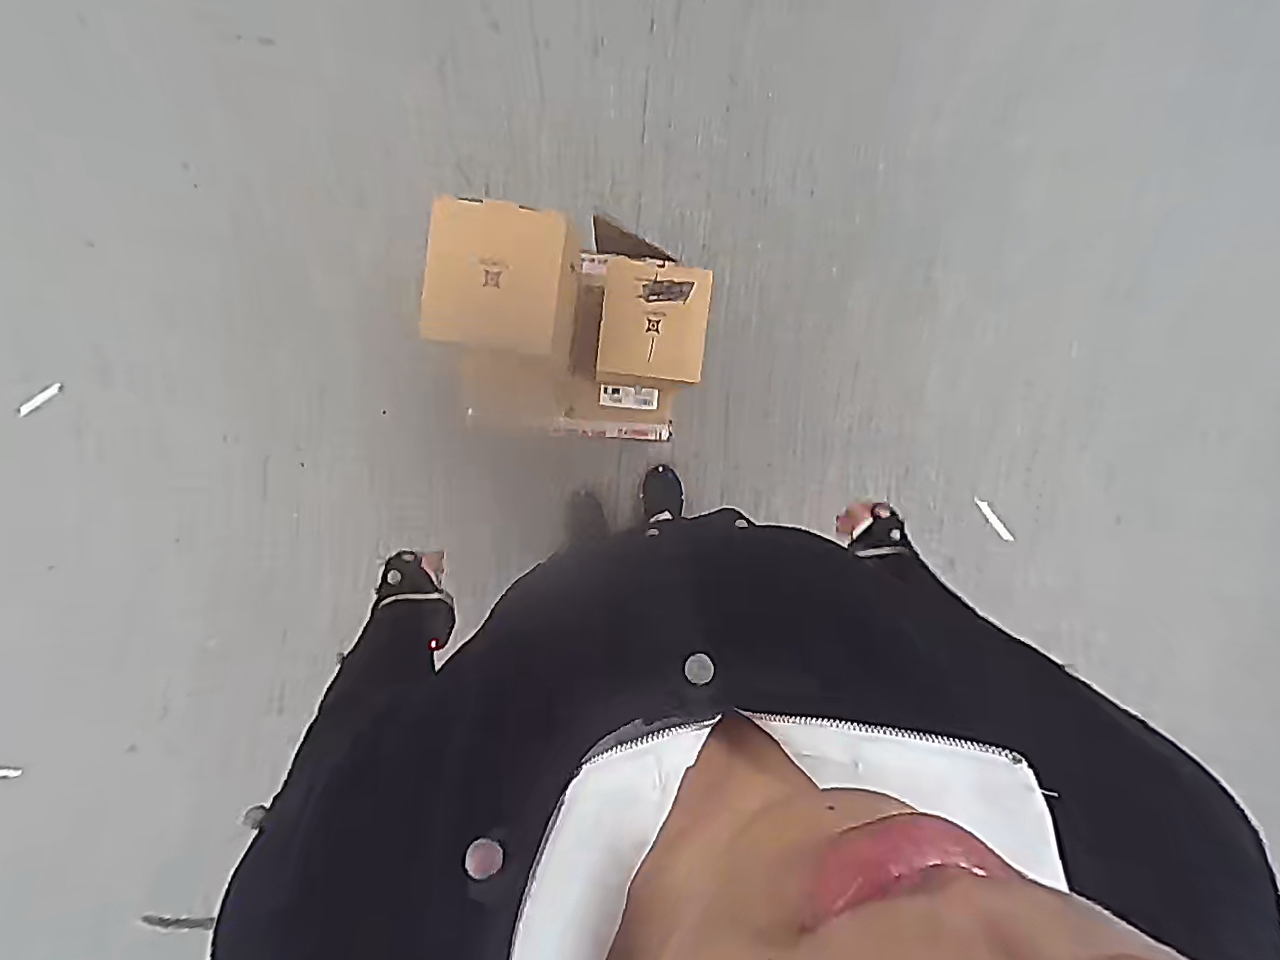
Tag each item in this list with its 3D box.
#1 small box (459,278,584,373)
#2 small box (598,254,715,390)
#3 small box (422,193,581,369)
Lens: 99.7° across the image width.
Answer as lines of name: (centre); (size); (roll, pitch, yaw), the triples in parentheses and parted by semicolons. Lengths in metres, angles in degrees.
small box: (-0.188, -0.278, 0.898); (0.168, 0.176, 0.179); (7, 95, -1)
small box: (0.019, -0.254, 0.909); (0.168, 0.176, 0.179); (6, 95, -4)
small box: (-0.176, -0.256, 0.736); (0.168, 0.176, 0.179); (7, 95, 0)
